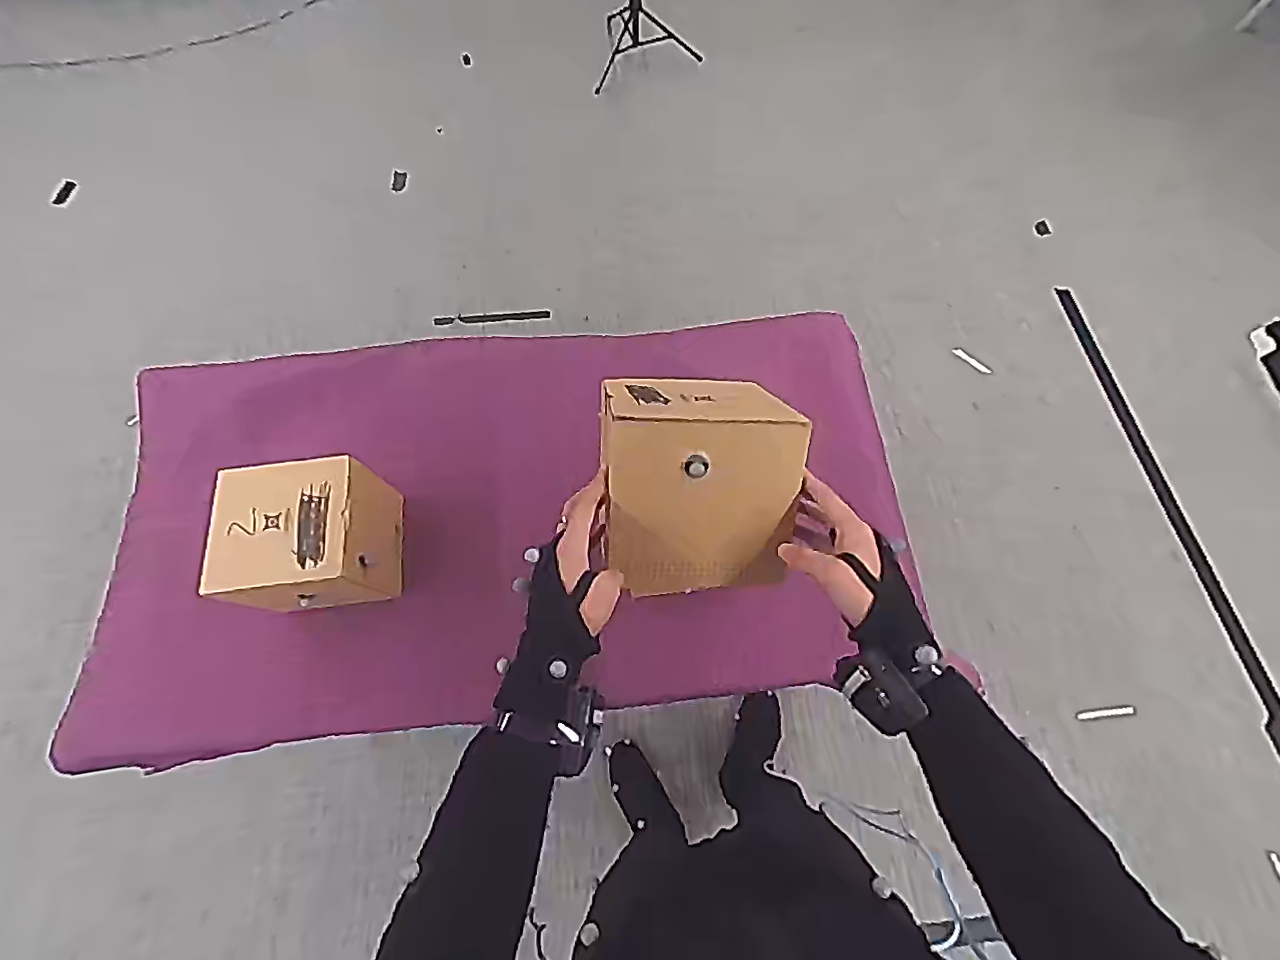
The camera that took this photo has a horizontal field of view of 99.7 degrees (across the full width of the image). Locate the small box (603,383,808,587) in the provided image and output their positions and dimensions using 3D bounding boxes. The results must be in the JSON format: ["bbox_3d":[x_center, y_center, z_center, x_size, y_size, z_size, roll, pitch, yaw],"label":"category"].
[{"bbox_3d":[0.051,-0.001,0.559,0.179,0.168,0.176,1,110,-7],"label":"small box"}]
